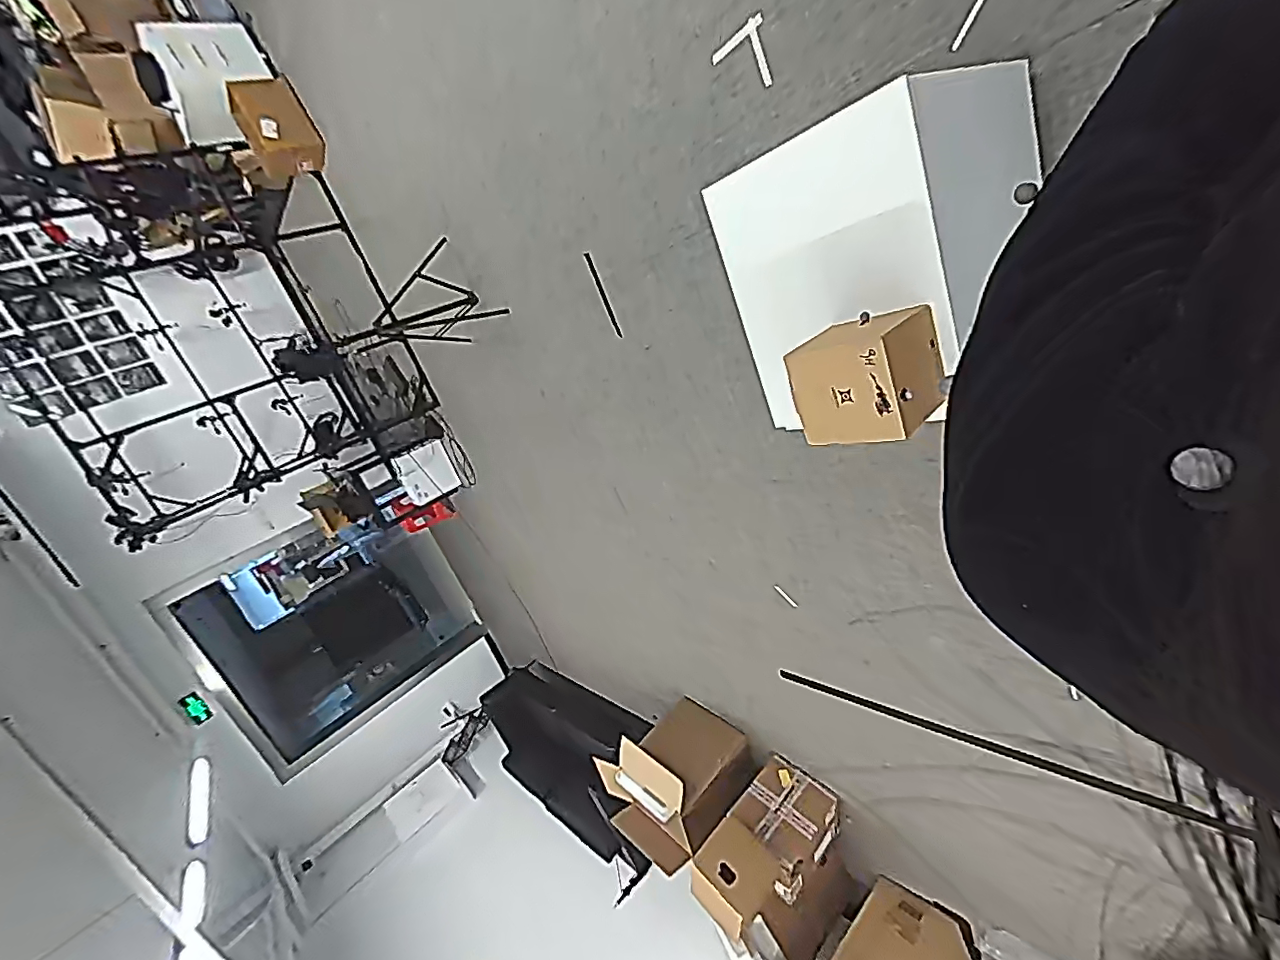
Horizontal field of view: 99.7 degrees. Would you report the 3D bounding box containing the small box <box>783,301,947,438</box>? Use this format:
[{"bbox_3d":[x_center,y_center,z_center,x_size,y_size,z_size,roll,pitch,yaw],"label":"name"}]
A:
[{"bbox_3d":[0.373,-0.179,0.896,0.179,0.176,0.168,2,120,53],"label":"small box"}]
